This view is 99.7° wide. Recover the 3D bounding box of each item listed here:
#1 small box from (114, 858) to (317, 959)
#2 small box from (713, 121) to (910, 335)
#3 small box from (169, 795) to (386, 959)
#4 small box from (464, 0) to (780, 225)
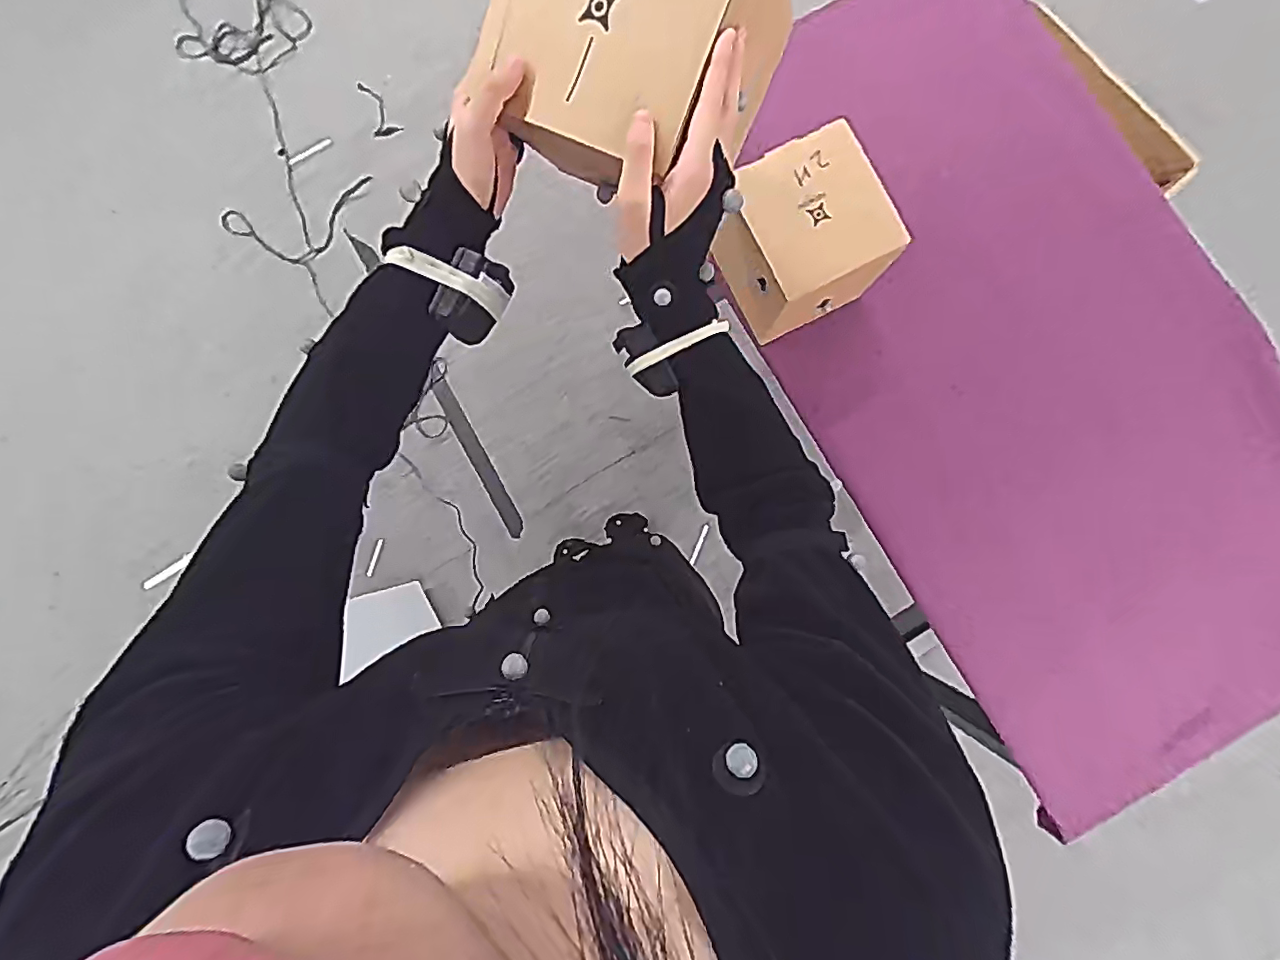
[{"bbox_3d":[-0.526,0.607,0.644,0.179,0.176,0.168,-30,86,0],"label":"small box"},{"bbox_3d":[0.211,-0.313,0.717,0.168,0.176,0.179,-26,86,-1],"label":"small box"},{"bbox_3d":[-0.524,0.620,0.806,0.179,0.176,0.168,-29,86,0],"label":"small box"},{"bbox_3d":[-0.001,-0.330,0.421,0.168,0.176,0.179,27,109,10],"label":"small box"}]
